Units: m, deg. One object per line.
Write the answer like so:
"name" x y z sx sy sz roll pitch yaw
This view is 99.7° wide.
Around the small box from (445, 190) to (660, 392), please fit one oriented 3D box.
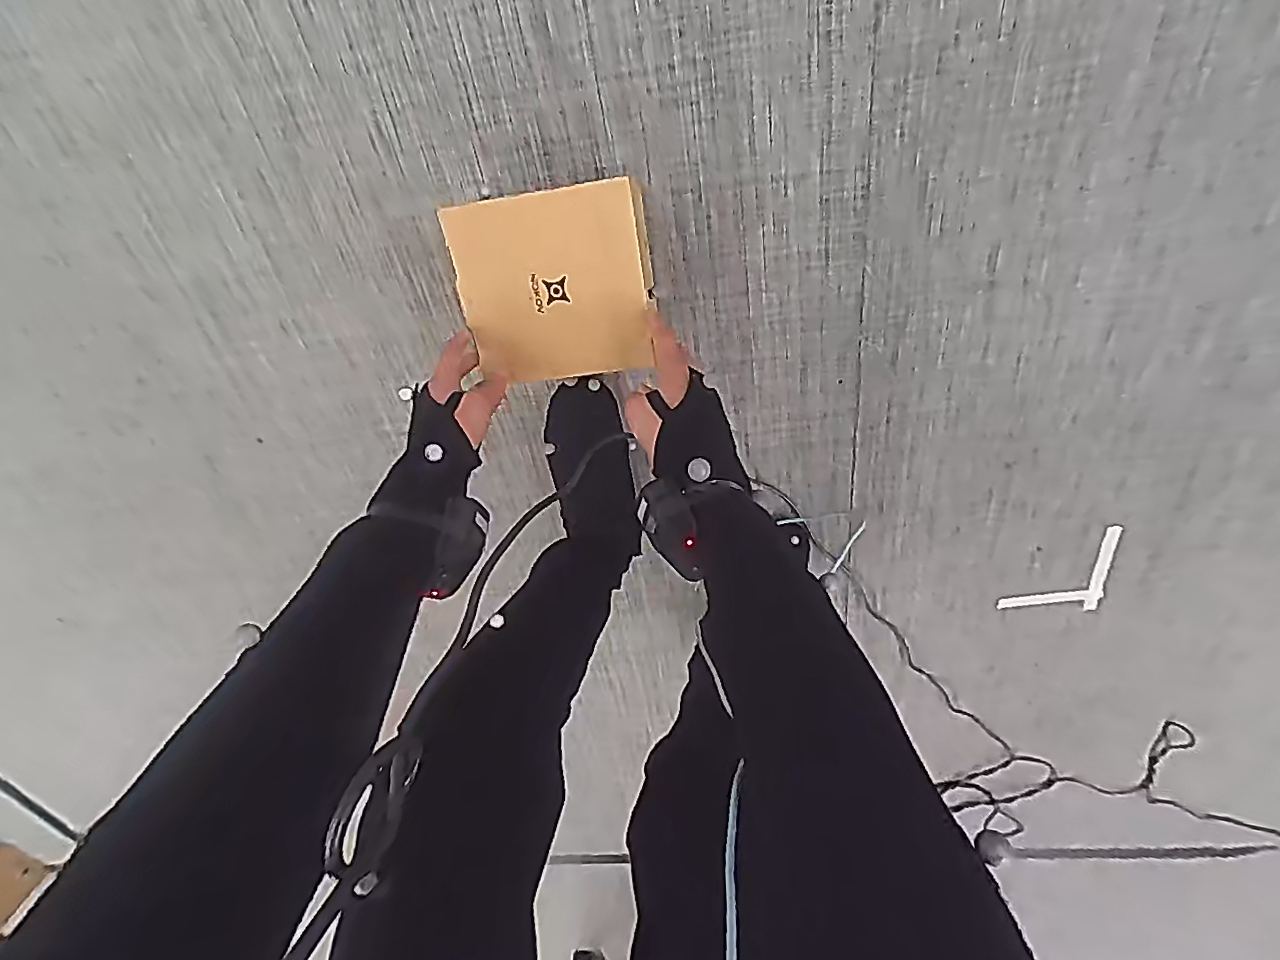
"small box" -0.072 -0.206 0.575 0.179 0.176 0.168 -5 117 8
